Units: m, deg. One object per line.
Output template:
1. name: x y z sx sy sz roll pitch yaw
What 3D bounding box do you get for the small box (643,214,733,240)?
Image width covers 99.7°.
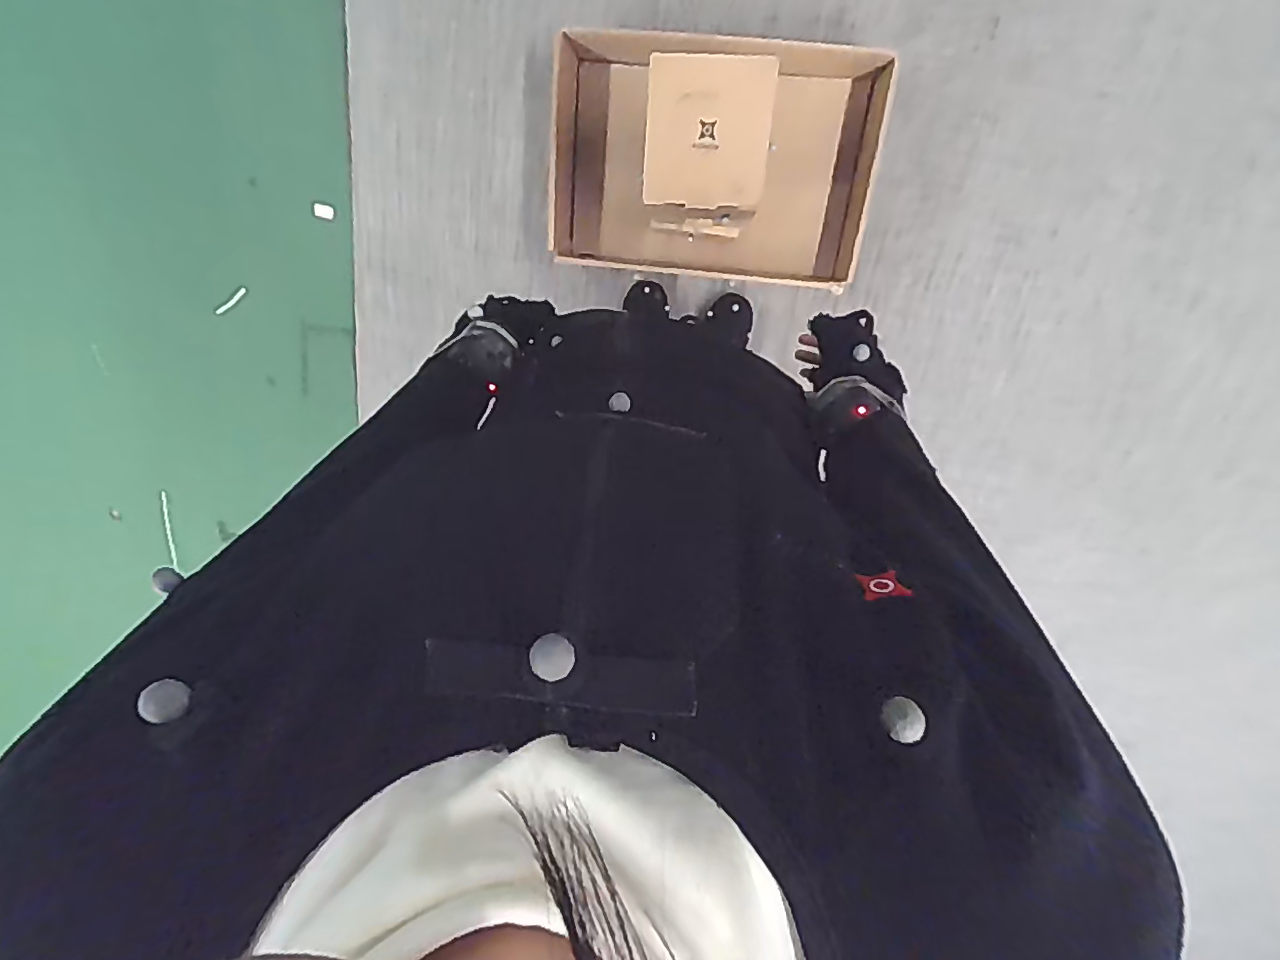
1. small box: 0.111 -0.595 1.111 0.179 0.176 0.168 9 111 4

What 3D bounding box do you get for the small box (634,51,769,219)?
1. small box: 0.086 -0.487 0.788 0.168 0.176 0.179 4 110 3
